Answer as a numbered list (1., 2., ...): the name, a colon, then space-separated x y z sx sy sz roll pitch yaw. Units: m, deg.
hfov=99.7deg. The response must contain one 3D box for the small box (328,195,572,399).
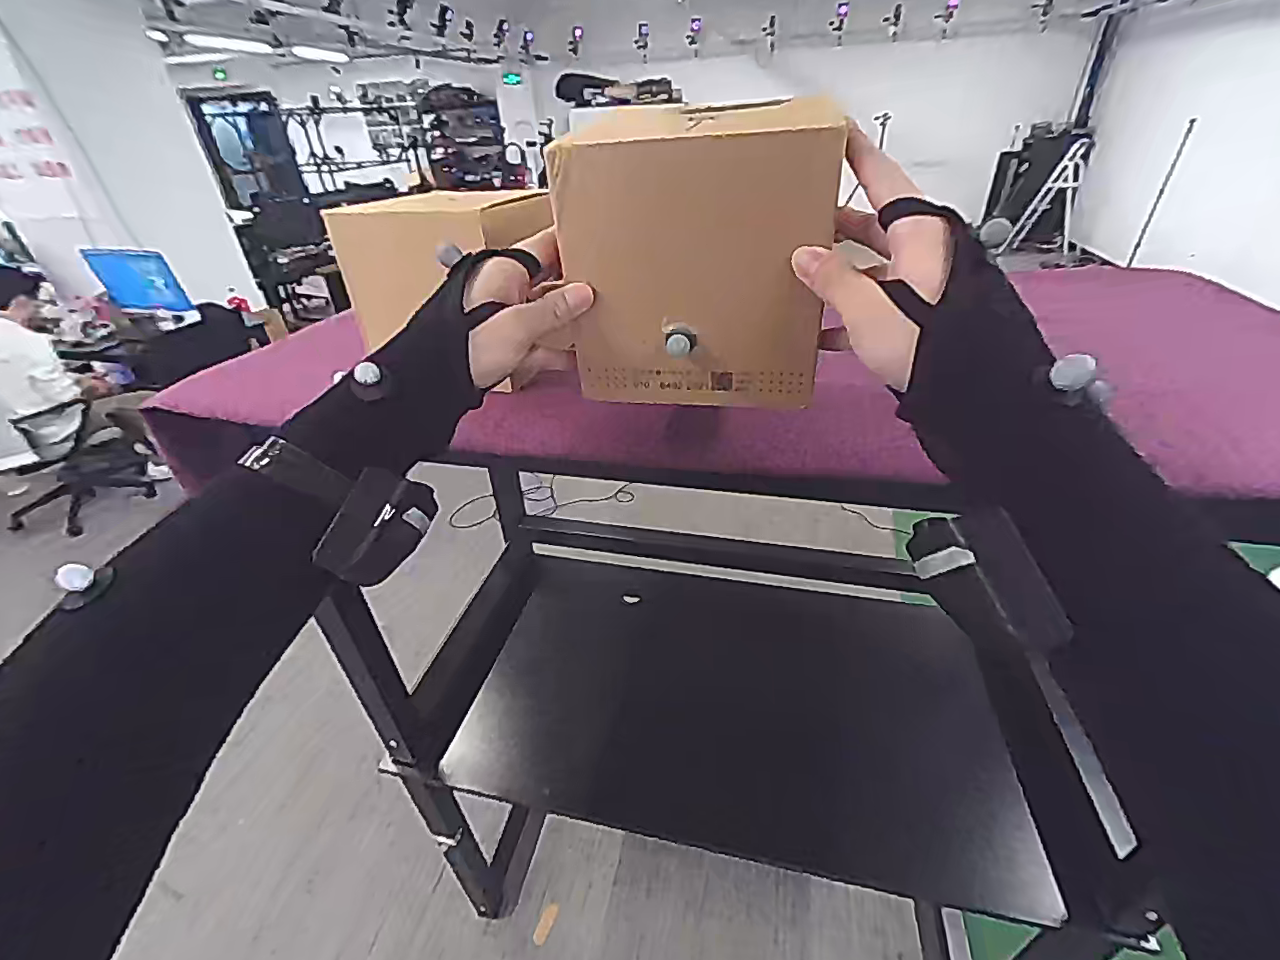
1. small box: -0.181 -0.203 0.579 0.168 0.176 0.179 7 34 16

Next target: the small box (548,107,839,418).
1. small box: 0.049 -0.166 0.406 0.168 0.176 0.179 4 40 13
